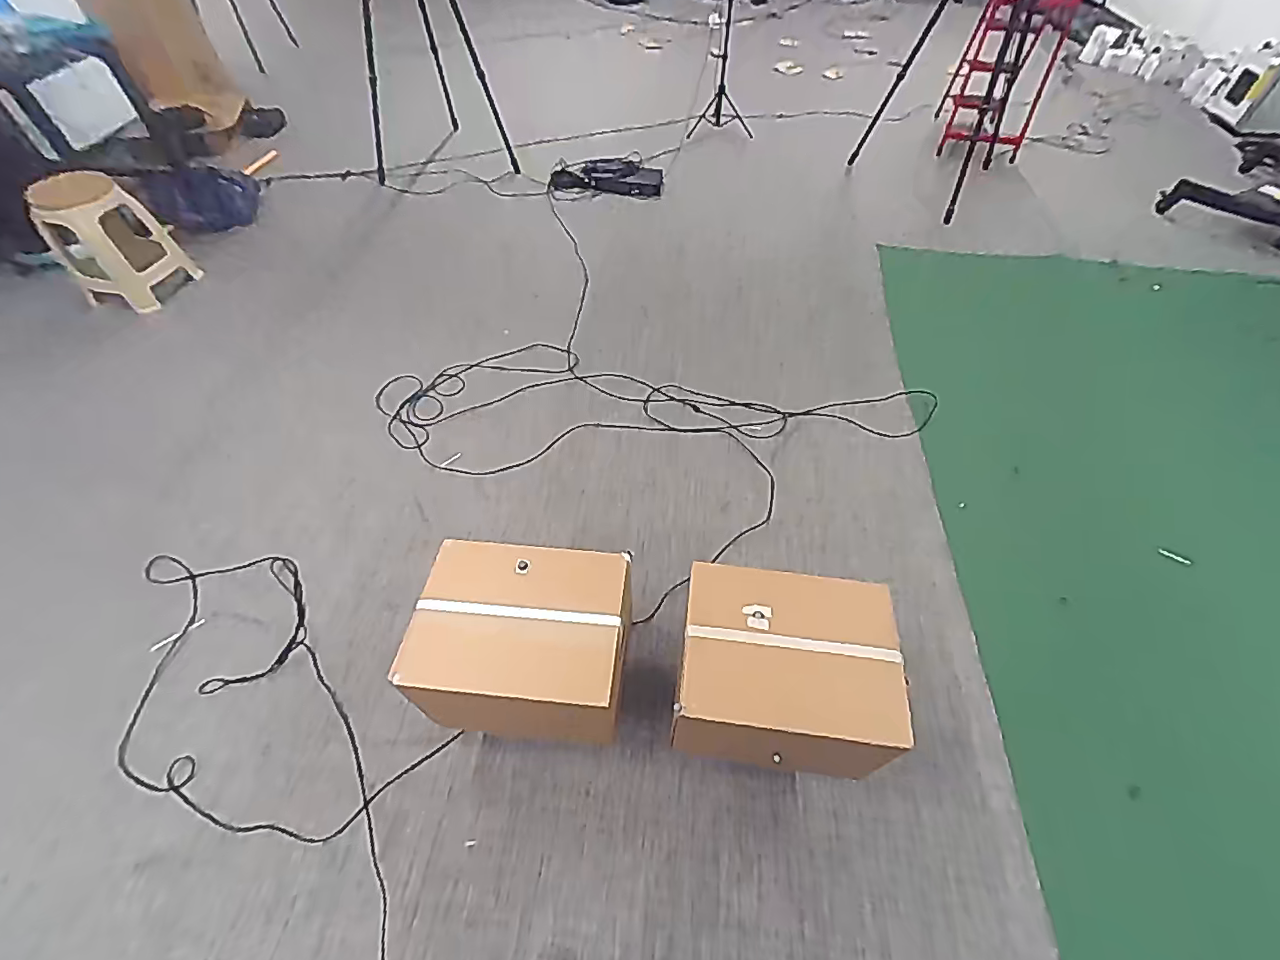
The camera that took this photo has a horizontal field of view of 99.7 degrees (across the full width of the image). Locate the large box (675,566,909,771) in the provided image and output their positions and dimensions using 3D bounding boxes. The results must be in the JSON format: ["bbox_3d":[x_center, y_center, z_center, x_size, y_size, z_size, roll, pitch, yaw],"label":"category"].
[{"bbox_3d":[0.293,0.409,1.160,0.408,0.320,0.320,6,53,5],"label":"large box"}]
